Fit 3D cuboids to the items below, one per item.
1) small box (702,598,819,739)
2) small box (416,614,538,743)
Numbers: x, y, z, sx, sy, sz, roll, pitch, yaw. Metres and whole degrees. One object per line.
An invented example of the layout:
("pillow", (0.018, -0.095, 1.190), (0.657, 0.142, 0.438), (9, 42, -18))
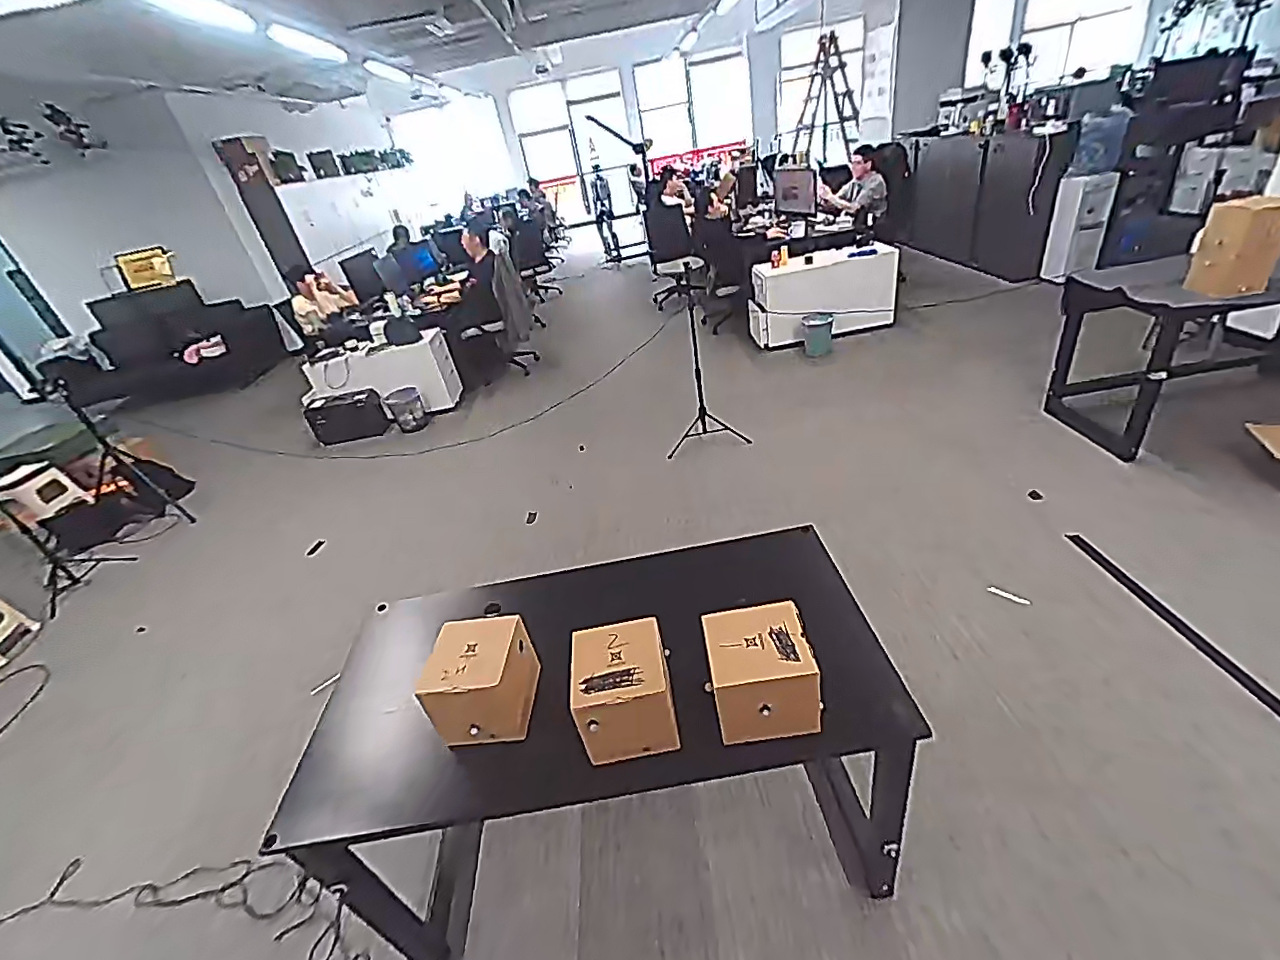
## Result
("small box", (0.218, 0.345, 0.989), (0.179, 0.176, 0.168), (-11, 32, 4))
("small box", (-0.315, 0.398, 1.087), (0.168, 0.176, 0.179), (-8, 33, 7))
